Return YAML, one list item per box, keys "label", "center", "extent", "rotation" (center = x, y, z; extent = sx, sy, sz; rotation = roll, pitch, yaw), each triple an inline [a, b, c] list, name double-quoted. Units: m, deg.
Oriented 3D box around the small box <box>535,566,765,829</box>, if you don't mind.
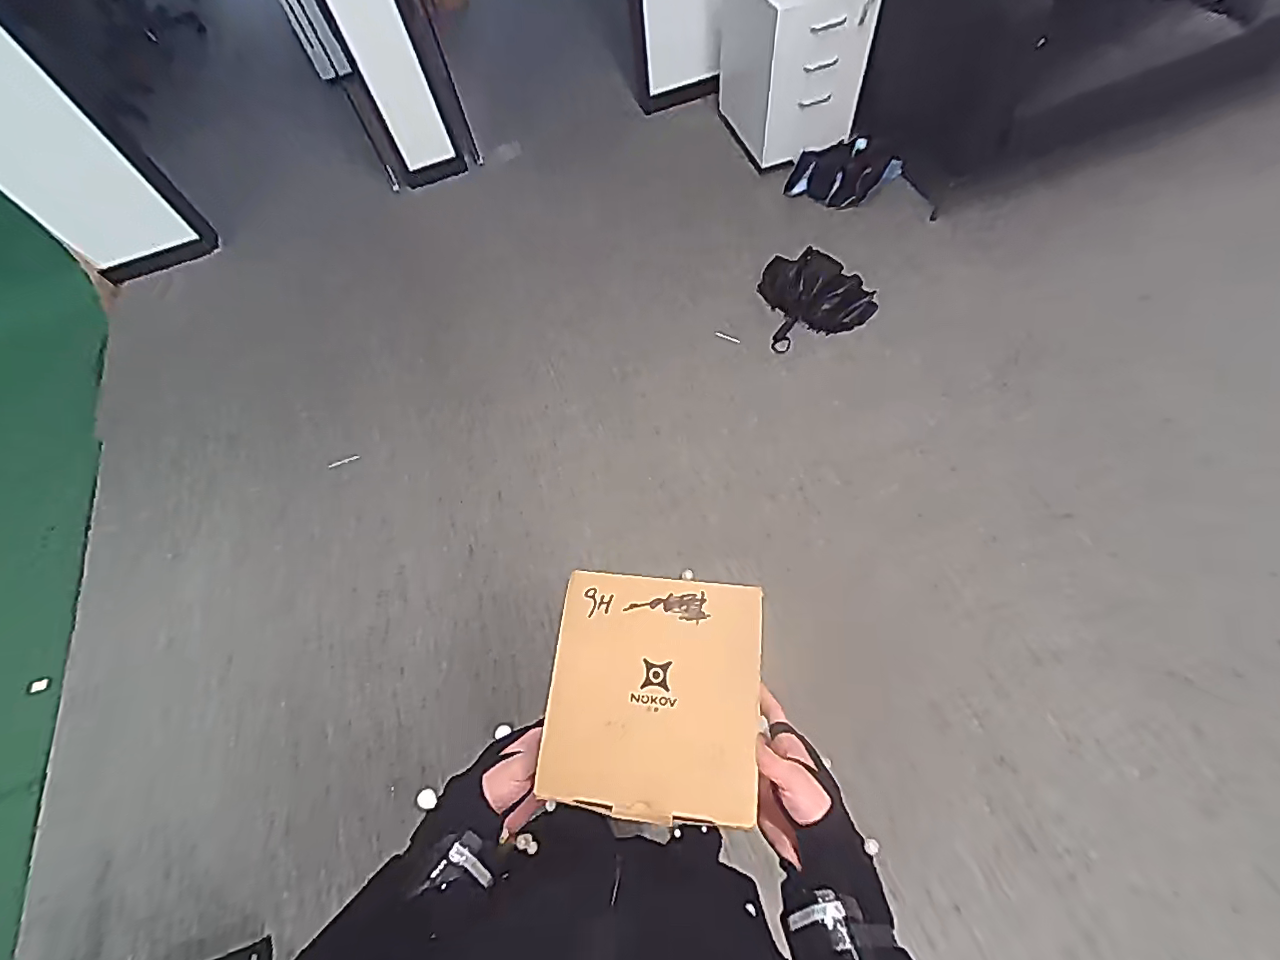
- label: "small box"
  center: [0.018, 0.190, 0.495]
  extent: [0.168, 0.176, 0.179]
  rotation: [5, 68, 6]
